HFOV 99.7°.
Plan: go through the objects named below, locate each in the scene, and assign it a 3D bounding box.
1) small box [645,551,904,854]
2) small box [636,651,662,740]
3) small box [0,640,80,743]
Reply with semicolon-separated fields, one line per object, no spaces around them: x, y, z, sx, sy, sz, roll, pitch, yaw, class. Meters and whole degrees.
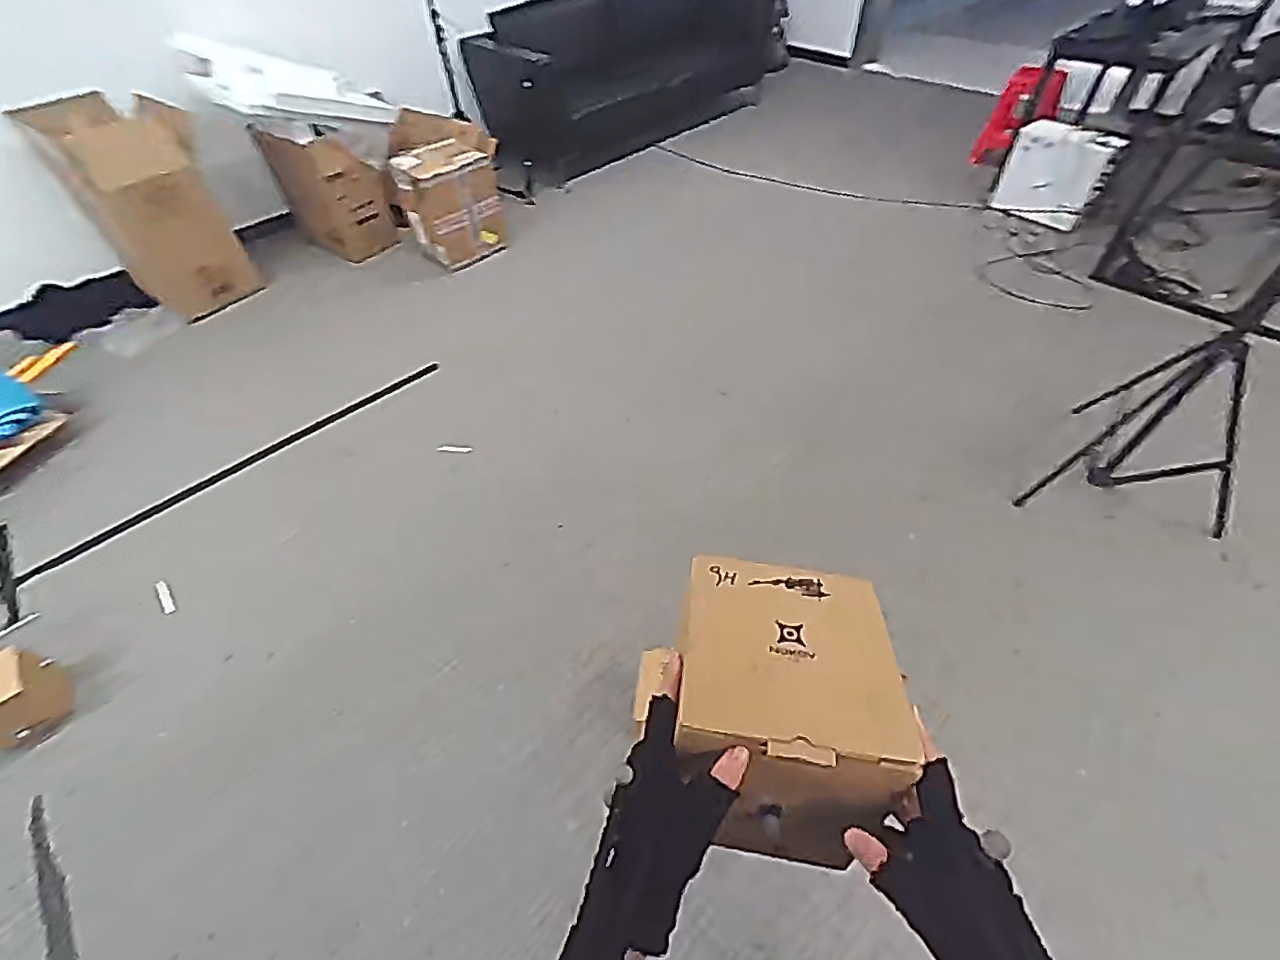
0.099;0.192;0.474;0.168;0.176;0.179;9;36;2;small box
0.084;0.565;1.393;0.168;0.176;0.179;4;51;7;small box
-1.695;0.579;1.470;0.168;0.176;0.179;-37;58;-24;small box
